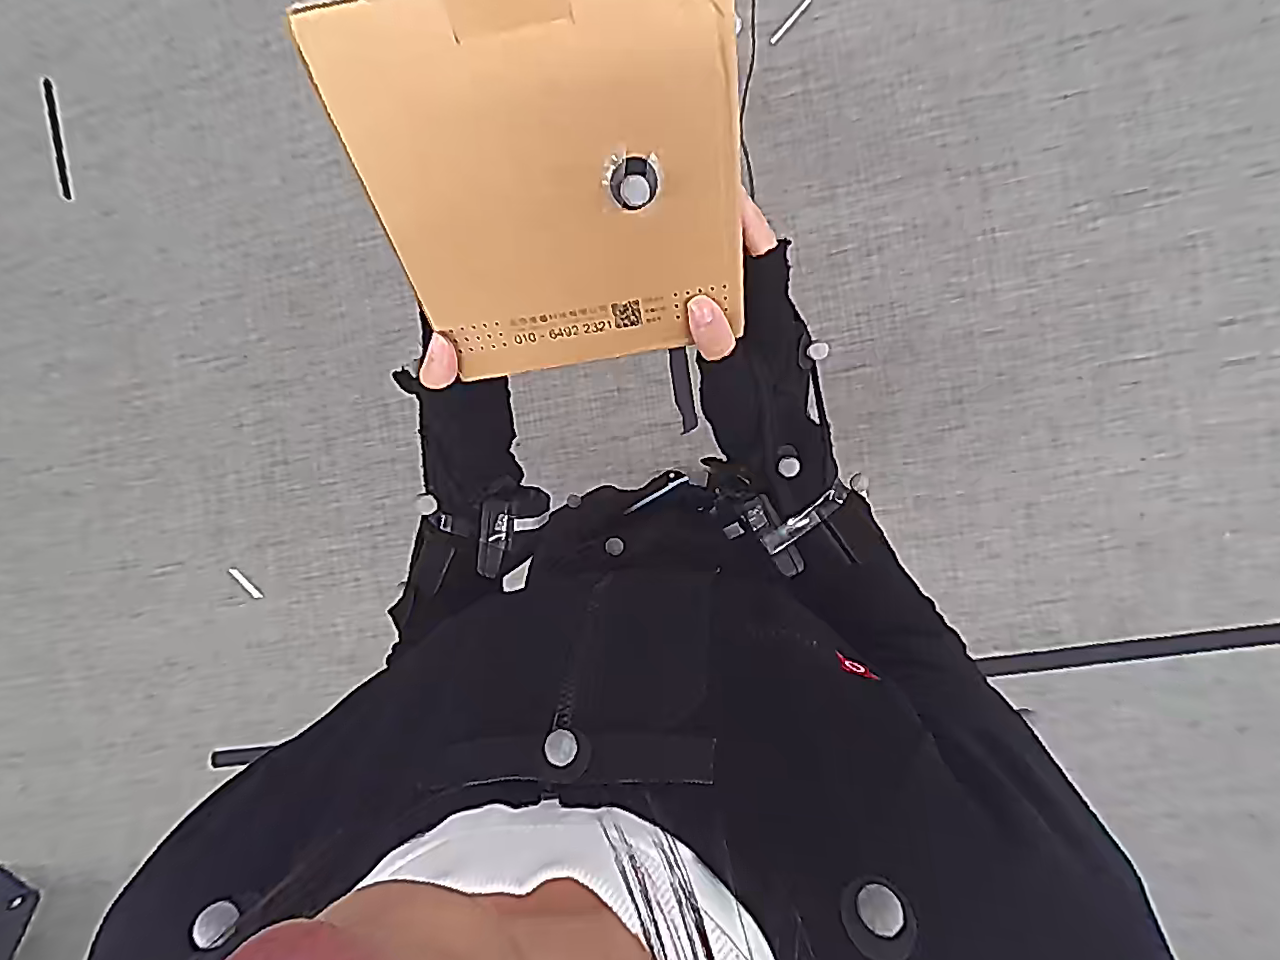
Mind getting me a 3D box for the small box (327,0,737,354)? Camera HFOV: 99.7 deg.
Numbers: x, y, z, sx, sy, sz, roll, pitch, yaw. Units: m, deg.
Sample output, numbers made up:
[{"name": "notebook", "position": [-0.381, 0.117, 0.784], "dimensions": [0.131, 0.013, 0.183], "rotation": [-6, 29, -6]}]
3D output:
[{"name": "small box", "position": [-0.036, -0.189, 0.323], "dimensions": [0.168, 0.176, 0.179], "rotation": [-7, 46, 6]}]
